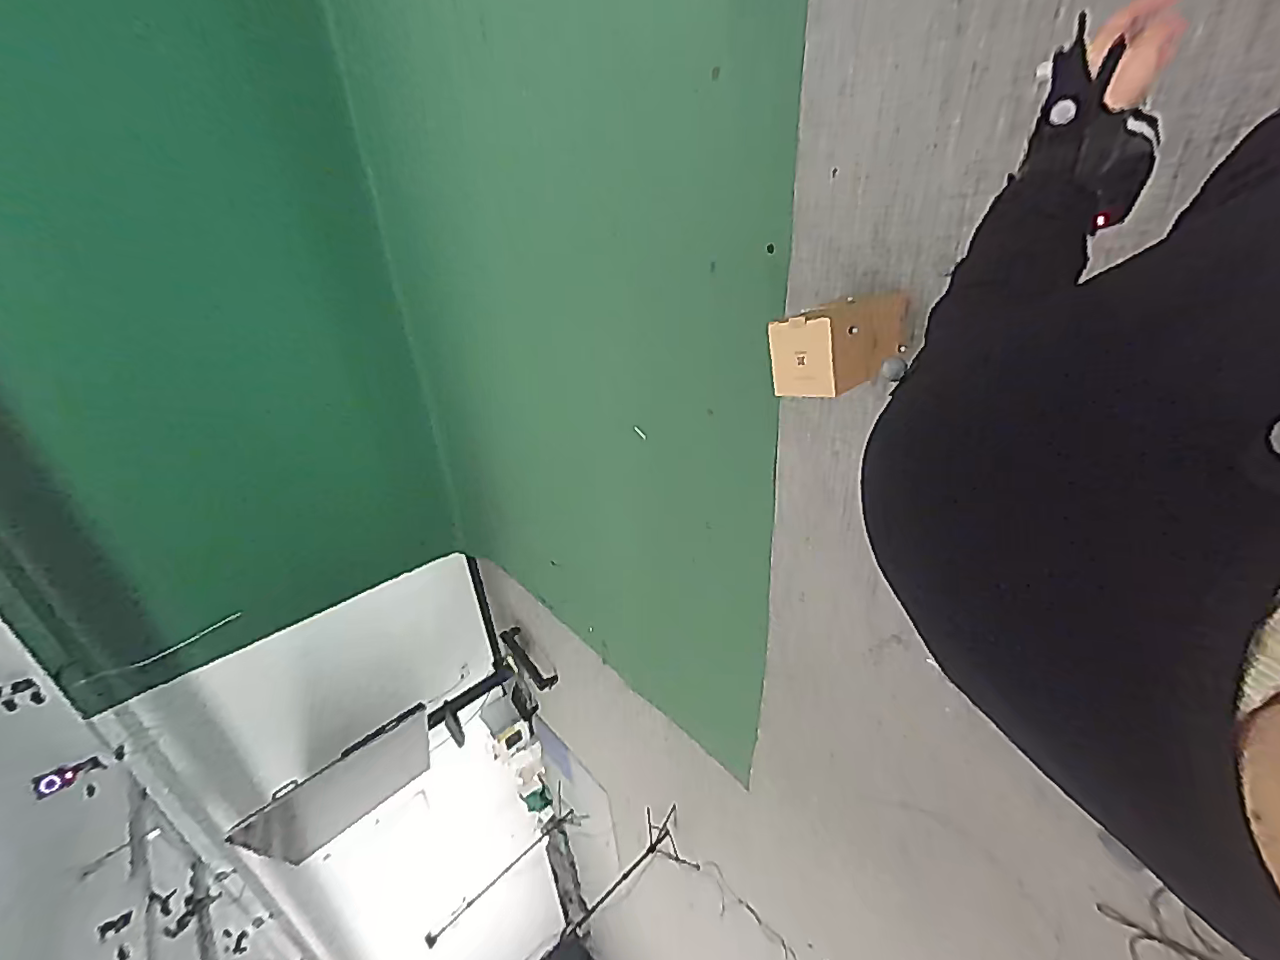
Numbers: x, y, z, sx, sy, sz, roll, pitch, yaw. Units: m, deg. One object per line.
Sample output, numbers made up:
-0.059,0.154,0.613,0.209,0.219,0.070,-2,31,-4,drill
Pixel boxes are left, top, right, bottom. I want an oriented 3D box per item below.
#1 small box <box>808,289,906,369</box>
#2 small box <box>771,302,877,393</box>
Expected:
0.546,-0.377,1.354,0.179,0.176,0.168,16,123,49,small box
0.432,-0.311,1.259,0.168,0.176,0.179,13,122,51,small box
